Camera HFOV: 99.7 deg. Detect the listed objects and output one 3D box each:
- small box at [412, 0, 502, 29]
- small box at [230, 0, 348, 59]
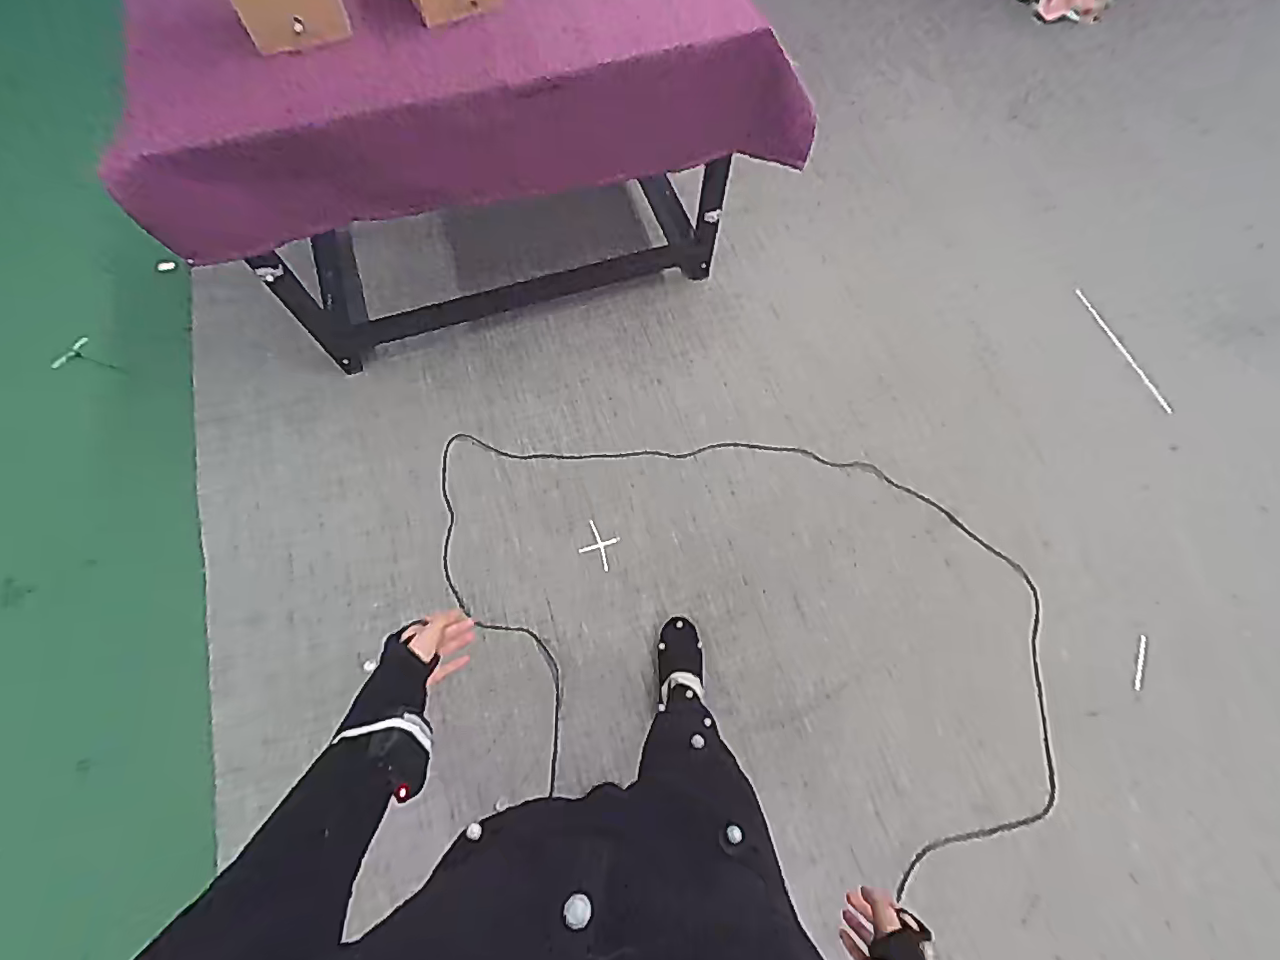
[{"bbox_3d":[-0.385,-1.026,1.041,0.168,0.176,0.179,-25,72,-10],"label":"small box"},{"bbox_3d":[-0.665,-0.928,0.997,0.179,0.176,0.168,-19,70,-9],"label":"small box"}]
